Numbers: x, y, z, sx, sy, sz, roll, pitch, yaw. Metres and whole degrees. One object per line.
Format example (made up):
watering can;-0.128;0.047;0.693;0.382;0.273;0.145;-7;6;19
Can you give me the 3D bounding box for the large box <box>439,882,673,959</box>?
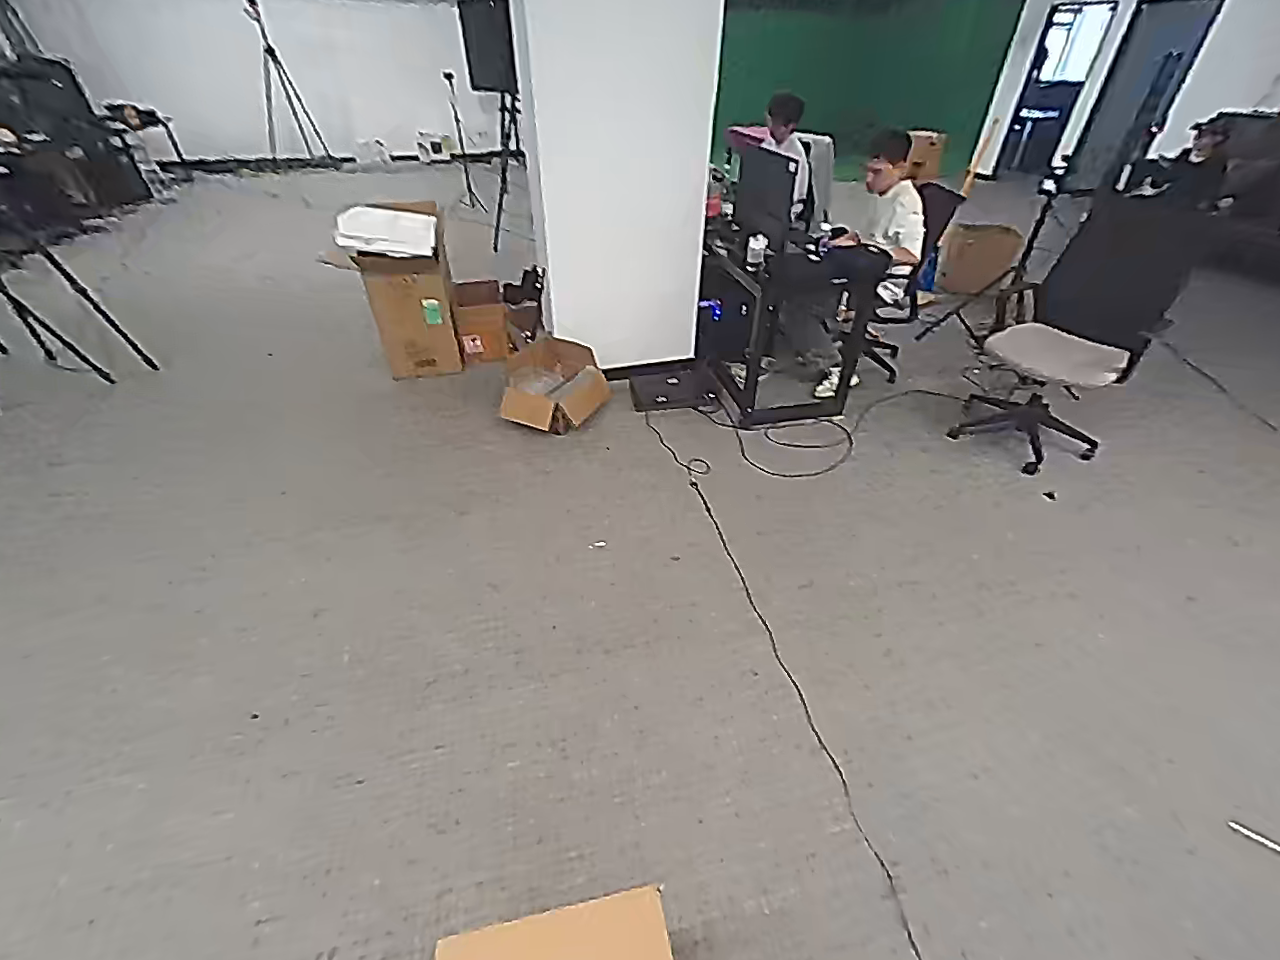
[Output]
large box;-0.133;0.999;0.966;0.408;0.320;0.320;-6;39;-10
